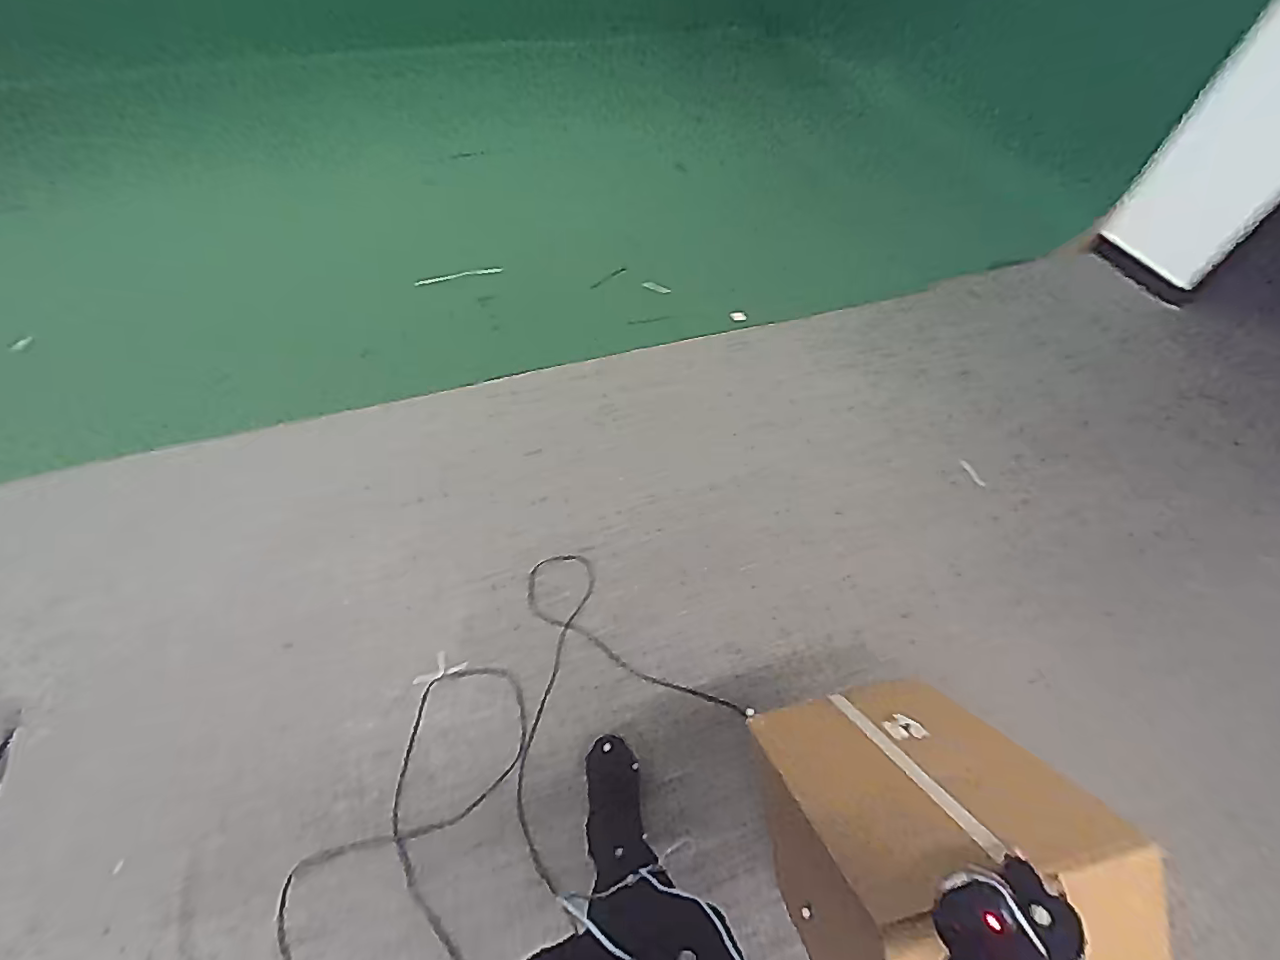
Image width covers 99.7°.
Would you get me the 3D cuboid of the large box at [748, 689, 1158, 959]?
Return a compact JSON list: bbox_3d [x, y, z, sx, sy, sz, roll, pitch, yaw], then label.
[{"bbox_3d":[0.387,0.553,0.753,0.320,0.408,0.320,-11,93,-7],"label":"large box"}]
